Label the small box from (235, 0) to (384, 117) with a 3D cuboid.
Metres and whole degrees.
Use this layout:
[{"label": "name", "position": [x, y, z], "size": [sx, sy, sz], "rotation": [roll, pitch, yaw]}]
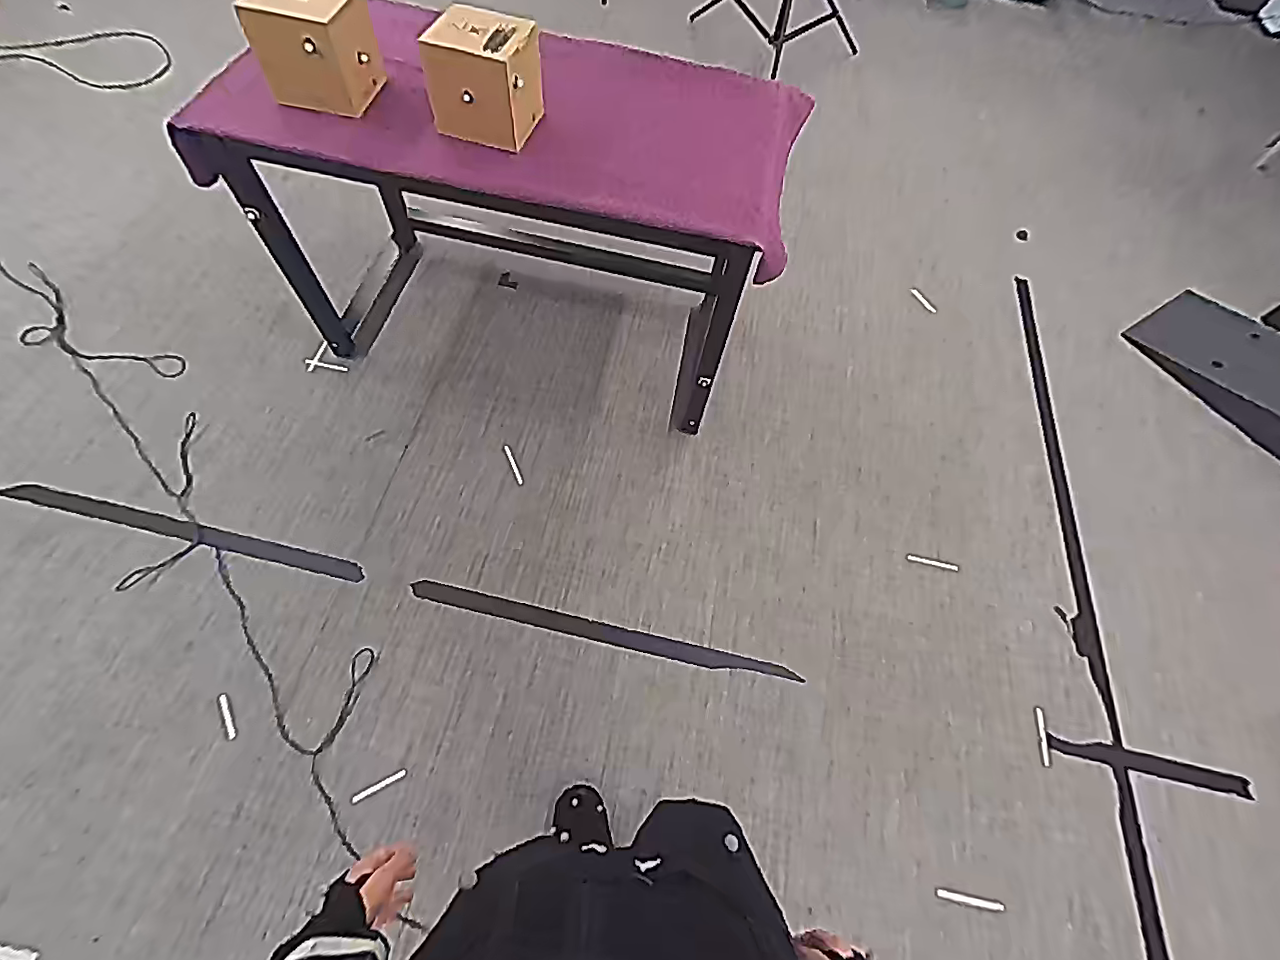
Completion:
[{"label": "small box", "position": [-0.648, -0.869, 1.090], "size": [0.179, 0.176, 0.168], "rotation": [10, 61, 0]}]
